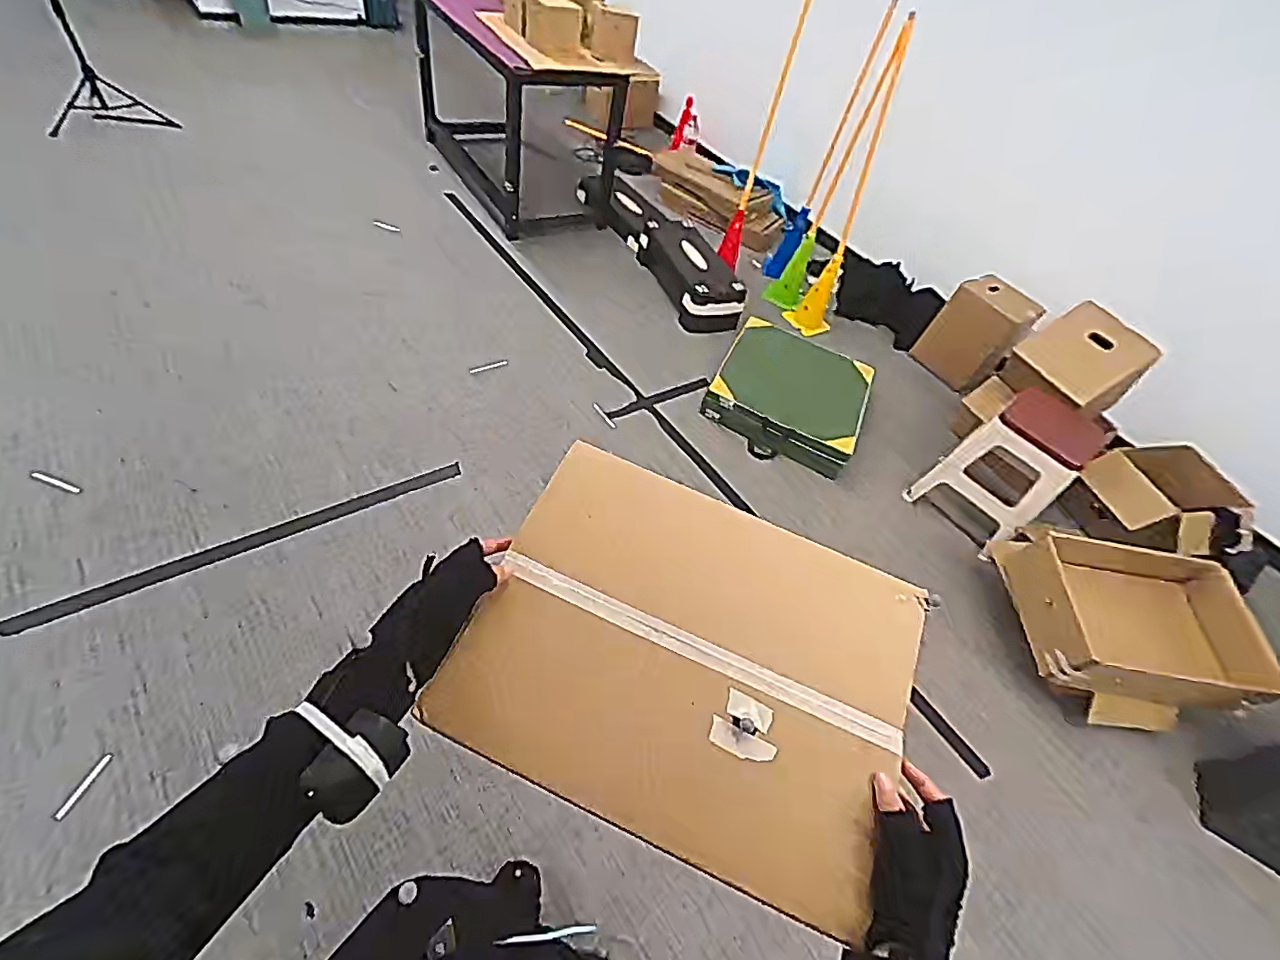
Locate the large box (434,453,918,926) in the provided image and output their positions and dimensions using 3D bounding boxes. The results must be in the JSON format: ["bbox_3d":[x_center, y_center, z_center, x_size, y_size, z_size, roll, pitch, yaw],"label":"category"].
[{"bbox_3d":[0.039,0.232,0.654,0.408,0.320,0.320,24,63,6],"label":"large box"}]
